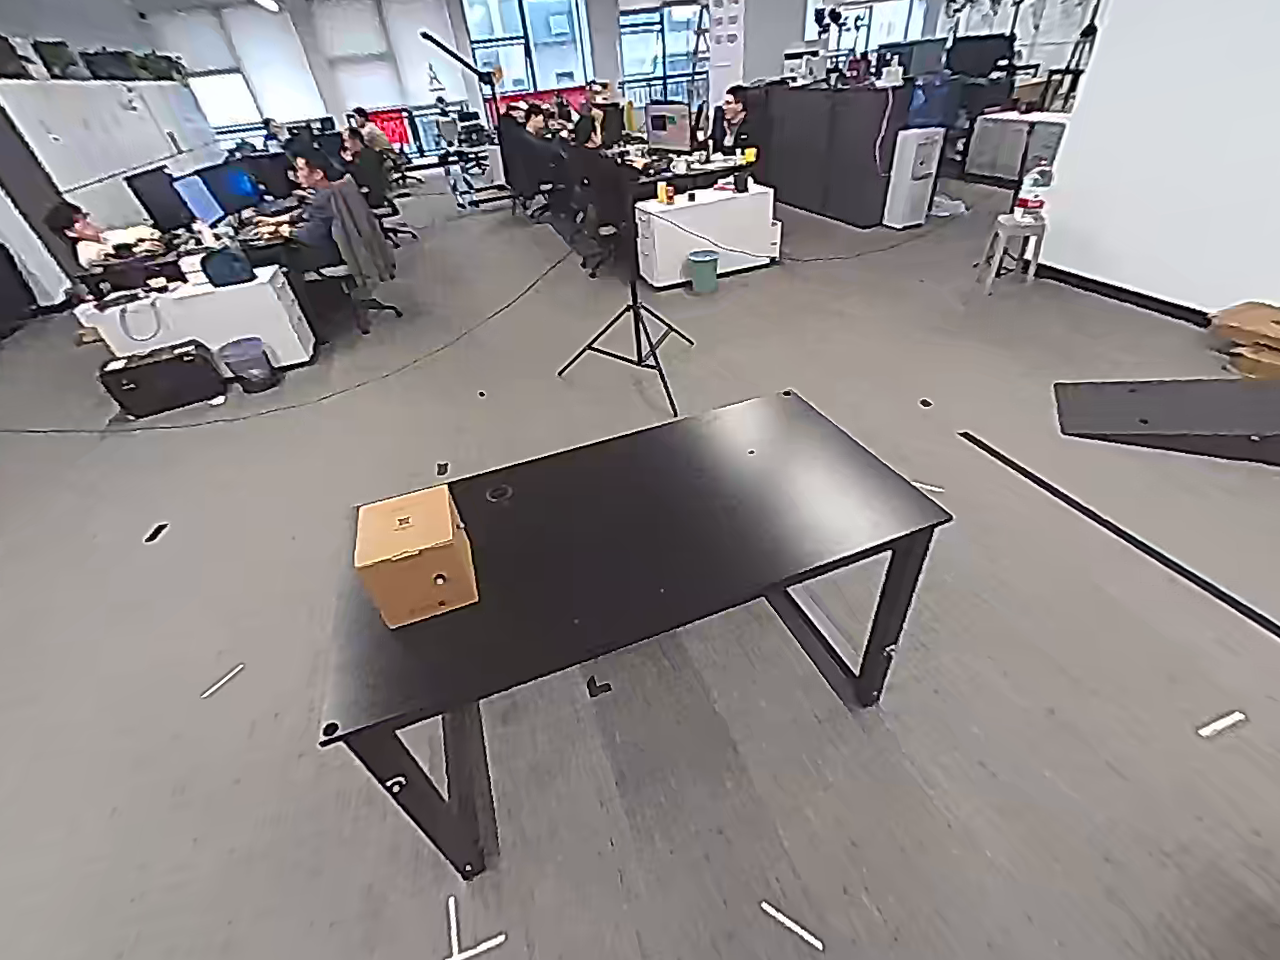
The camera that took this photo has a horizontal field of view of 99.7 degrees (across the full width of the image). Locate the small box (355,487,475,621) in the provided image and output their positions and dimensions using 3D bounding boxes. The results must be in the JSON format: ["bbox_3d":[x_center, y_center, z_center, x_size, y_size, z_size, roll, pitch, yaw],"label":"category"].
[{"bbox_3d":[-0.422,0.145,1.030,0.168,0.176,0.179,-16,38,-14],"label":"small box"}]
